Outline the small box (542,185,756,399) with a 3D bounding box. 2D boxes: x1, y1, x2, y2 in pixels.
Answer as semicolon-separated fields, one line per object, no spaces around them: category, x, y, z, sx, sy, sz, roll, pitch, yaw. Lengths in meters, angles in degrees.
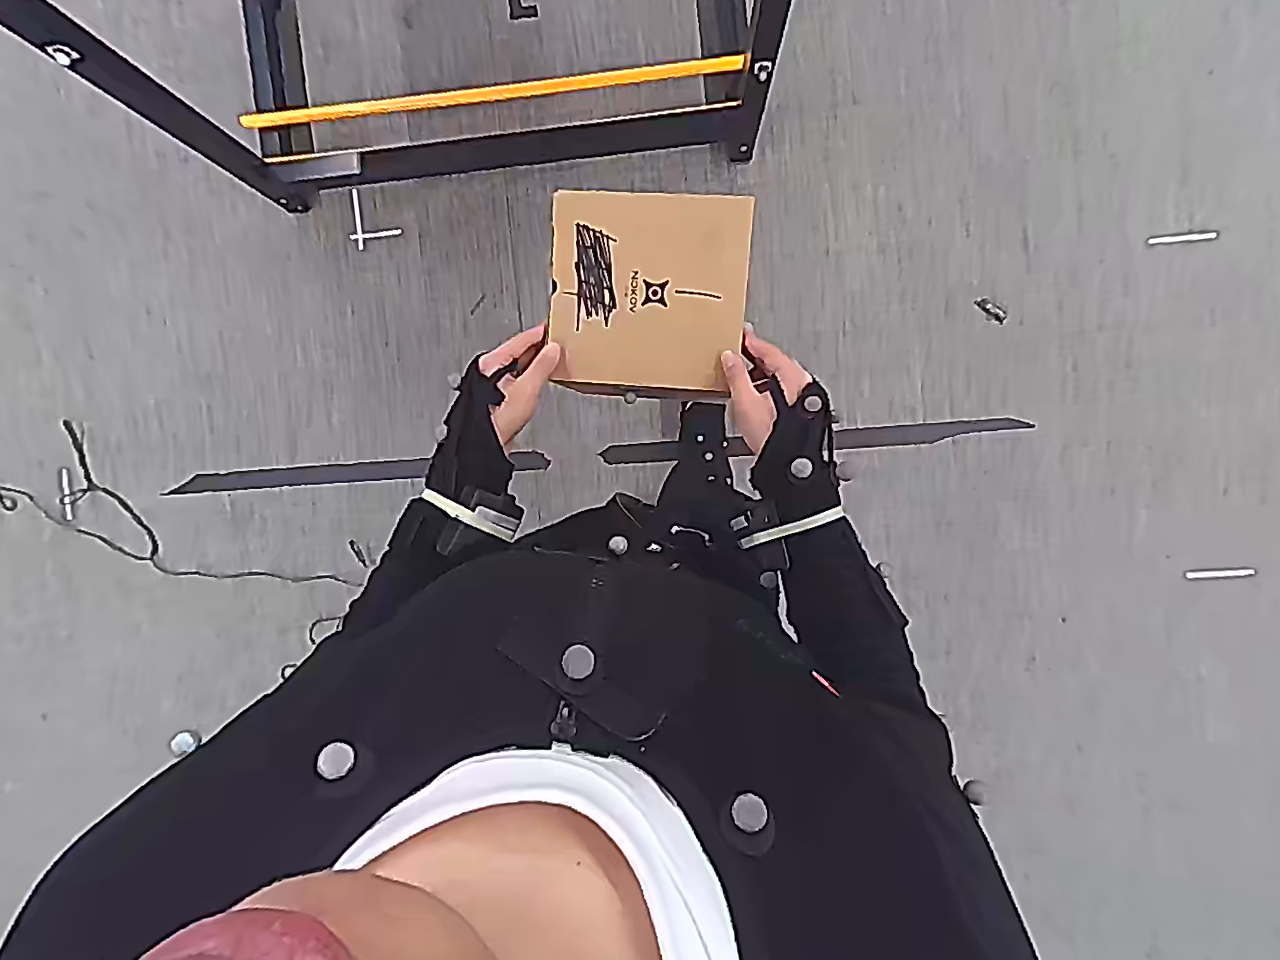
small box;0.013;-0.173;0.545;0.179;0.176;0.168;5;95;5
